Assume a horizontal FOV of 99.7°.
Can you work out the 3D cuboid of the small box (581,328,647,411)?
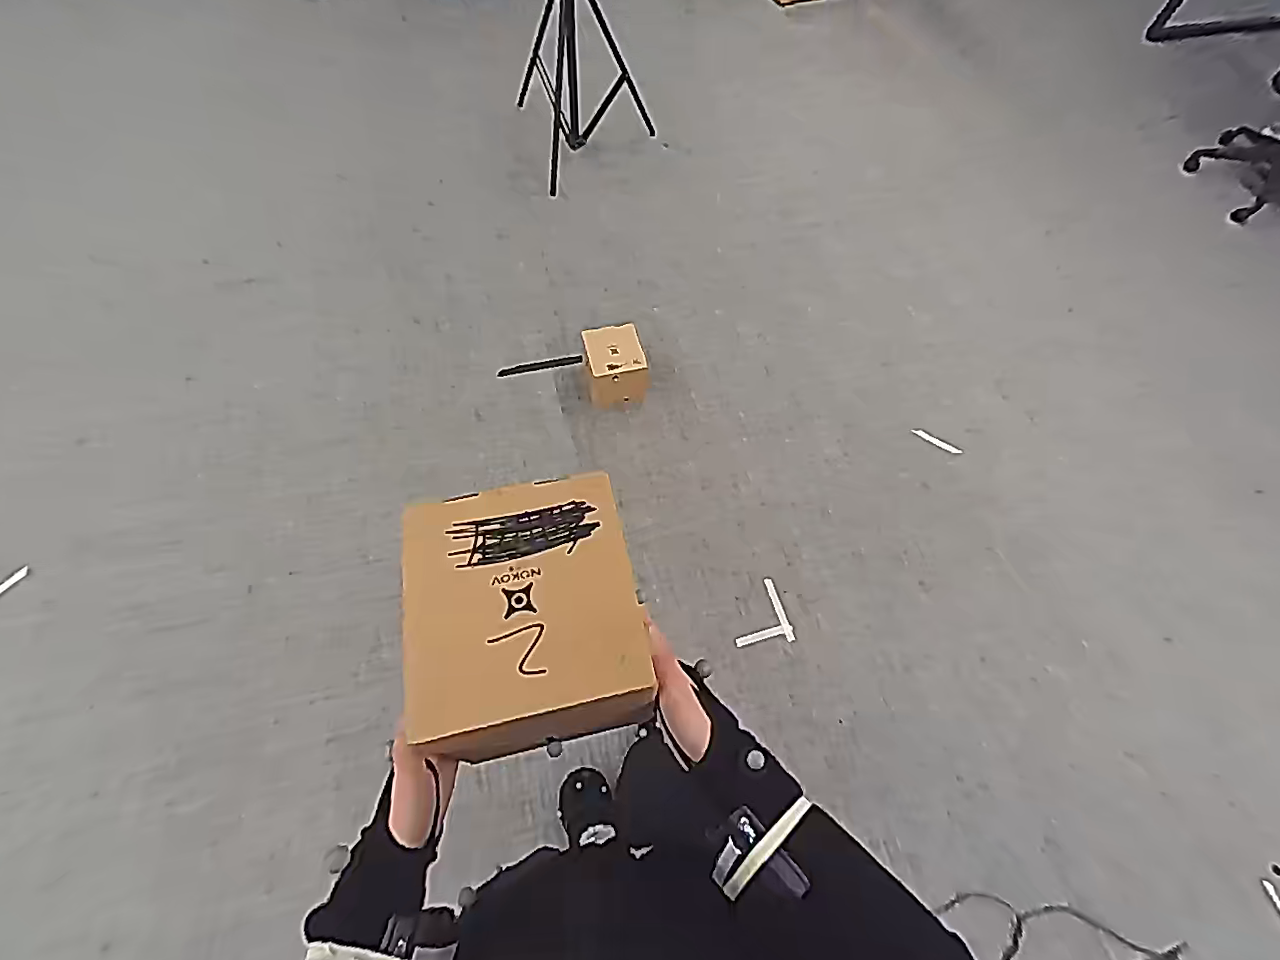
[{"bbox_3d":[-0.085,-0.341,1.680,0.168,0.176,0.179,-13,64,-11],"label":"small box"}]
